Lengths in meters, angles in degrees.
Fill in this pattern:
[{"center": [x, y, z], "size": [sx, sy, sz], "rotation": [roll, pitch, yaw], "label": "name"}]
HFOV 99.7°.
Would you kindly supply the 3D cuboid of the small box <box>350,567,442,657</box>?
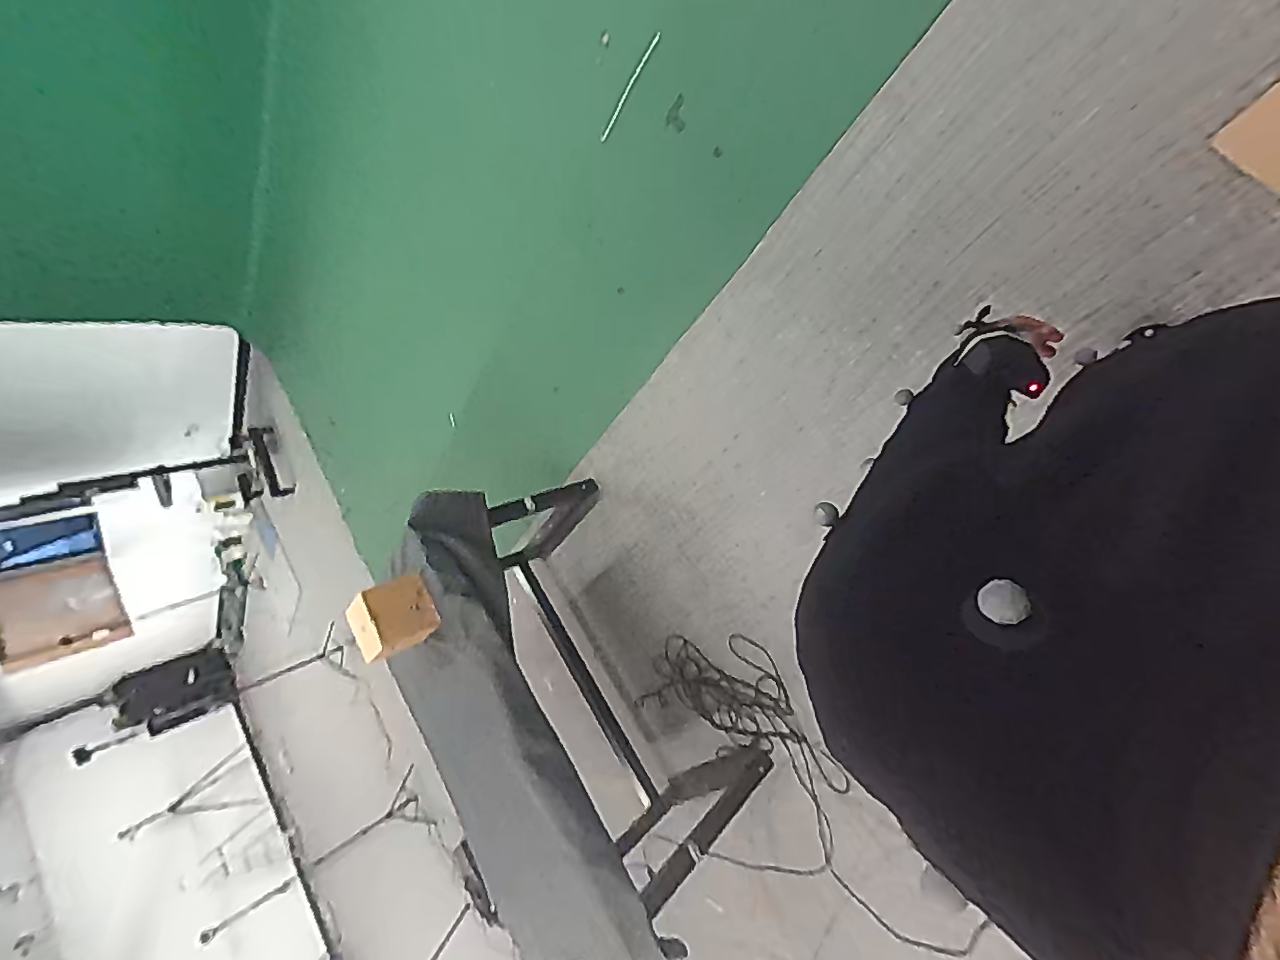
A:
[{"center": [-0.686, 0.371, 1.526], "size": [0.179, 0.176, 0.168], "rotation": [-41, 75, 41], "label": "small box"}]
